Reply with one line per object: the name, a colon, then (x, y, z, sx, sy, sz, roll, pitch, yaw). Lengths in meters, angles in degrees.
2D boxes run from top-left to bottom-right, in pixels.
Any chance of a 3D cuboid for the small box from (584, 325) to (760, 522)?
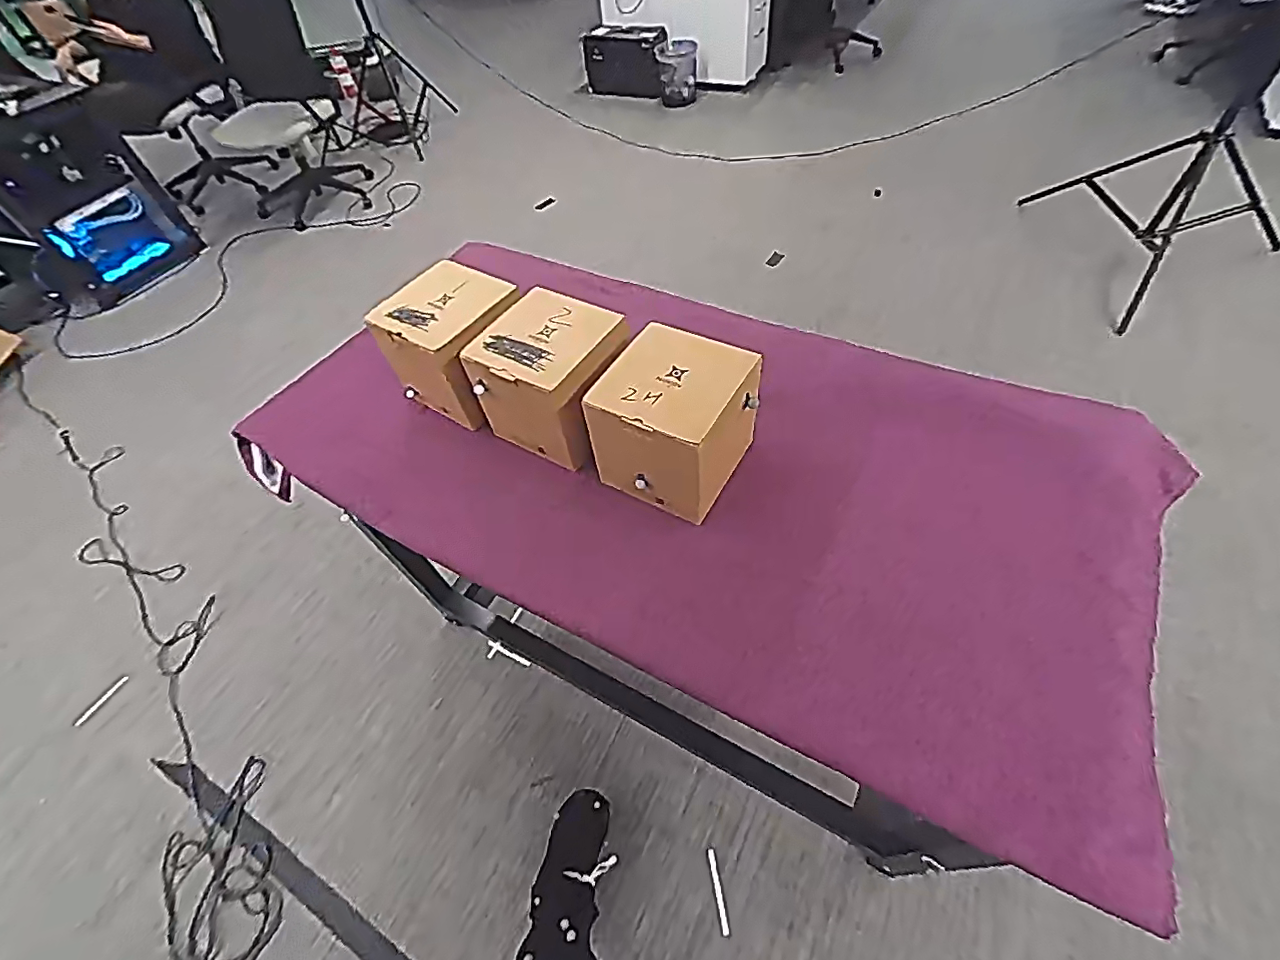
small box: (0.047, -0.076, 0.741, 0.168, 0.176, 0.179, 23, 59, 23)
